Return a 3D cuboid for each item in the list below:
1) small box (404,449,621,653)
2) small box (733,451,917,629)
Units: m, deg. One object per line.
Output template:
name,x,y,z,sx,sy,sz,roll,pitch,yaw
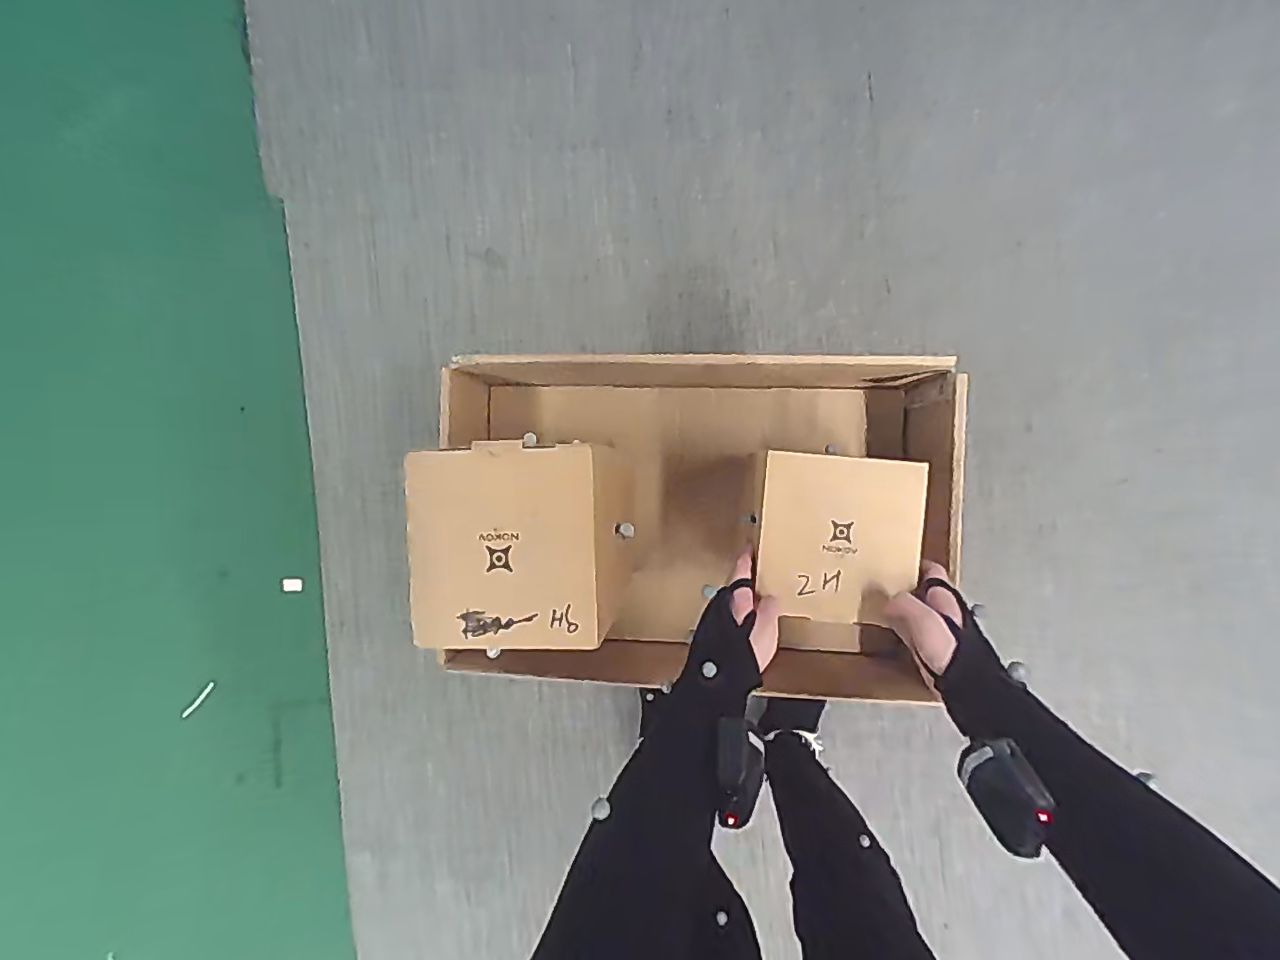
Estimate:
small box,-0.116,0.062,0.549,0.168,0.176,0.179,-2,92,9
small box,0.205,0.060,0.644,0.168,0.176,0.179,5,93,5
